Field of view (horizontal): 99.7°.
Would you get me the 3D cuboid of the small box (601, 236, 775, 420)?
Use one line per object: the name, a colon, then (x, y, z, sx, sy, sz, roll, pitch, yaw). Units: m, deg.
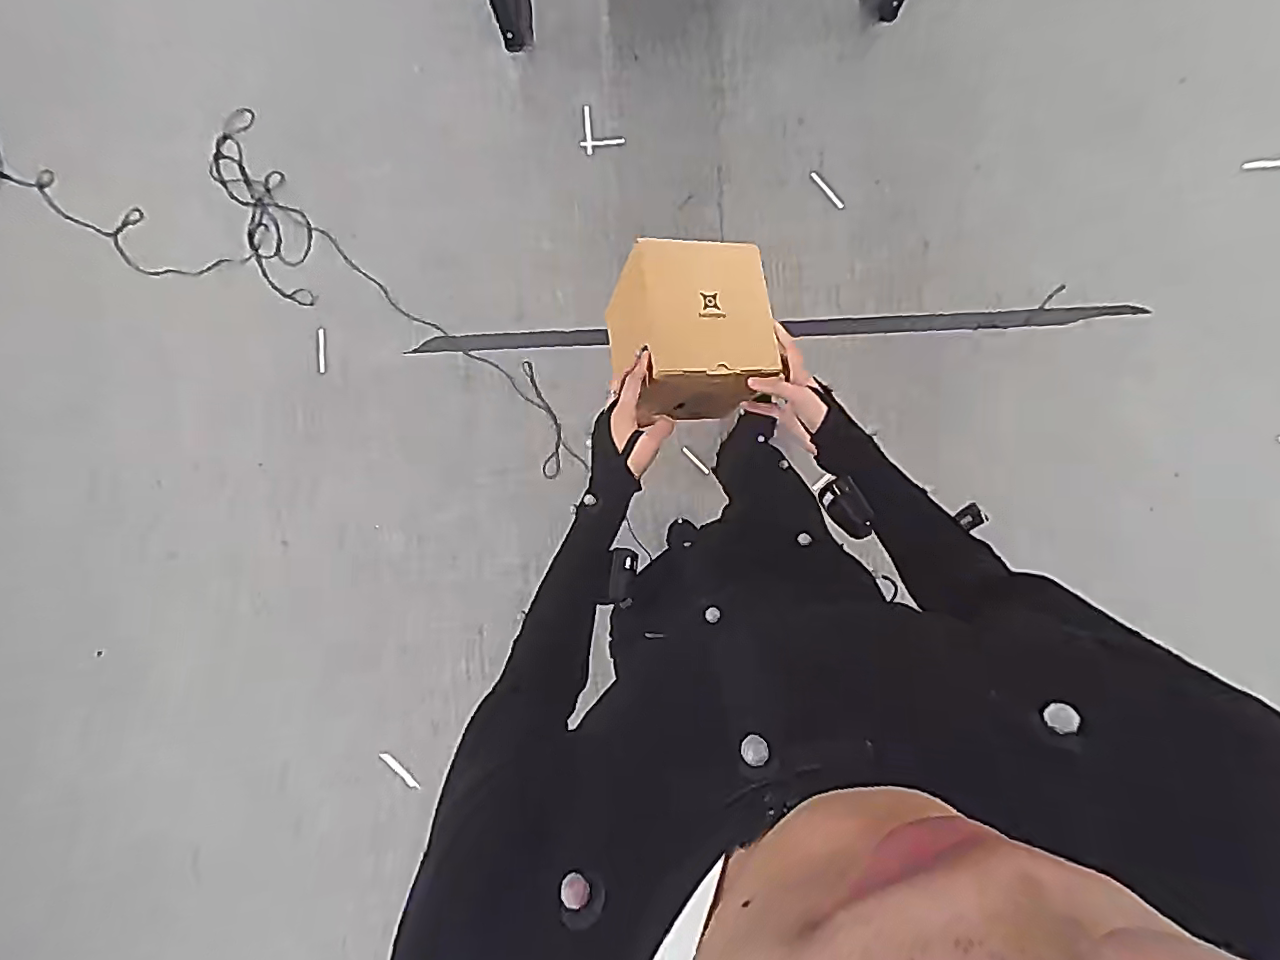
small box: (0.052, -0.193, 0.721, 0.168, 0.176, 0.179, -6, 79, -18)
